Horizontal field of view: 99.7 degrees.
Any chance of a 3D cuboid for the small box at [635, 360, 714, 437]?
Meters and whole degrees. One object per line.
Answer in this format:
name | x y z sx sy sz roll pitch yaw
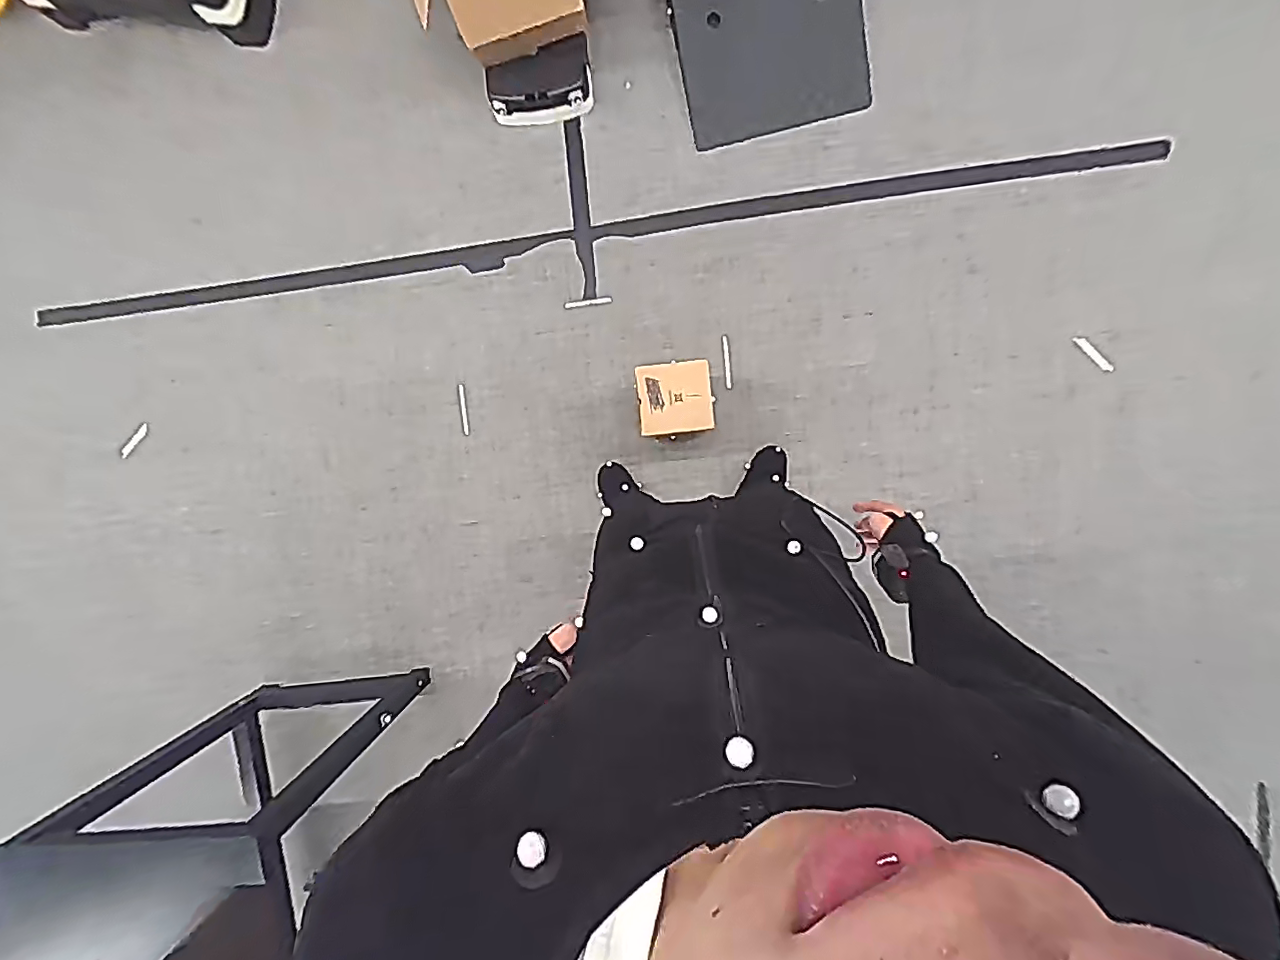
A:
small box | 0.086 -0.196 1.344 0.179 0.176 0.168 -6 94 3
